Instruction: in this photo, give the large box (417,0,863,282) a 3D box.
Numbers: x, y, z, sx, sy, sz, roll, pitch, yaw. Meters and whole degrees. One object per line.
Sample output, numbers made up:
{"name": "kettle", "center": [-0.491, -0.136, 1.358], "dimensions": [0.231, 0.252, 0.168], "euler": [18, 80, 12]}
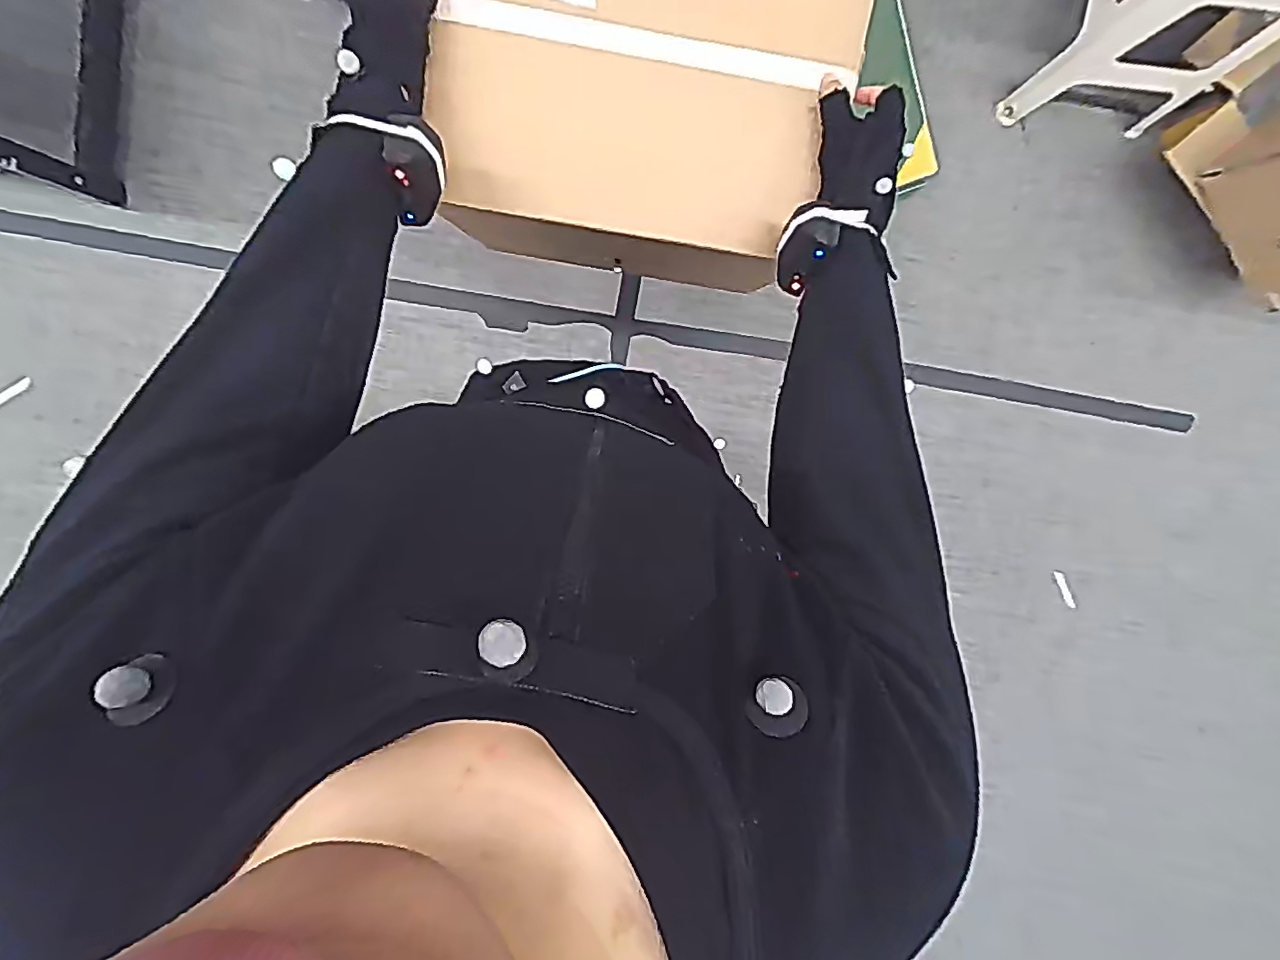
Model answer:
{"name": "large box", "center": [-0.002, -0.434, 0.645], "dimensions": [0.408, 0.320, 0.320], "euler": [8, 103, -3]}
